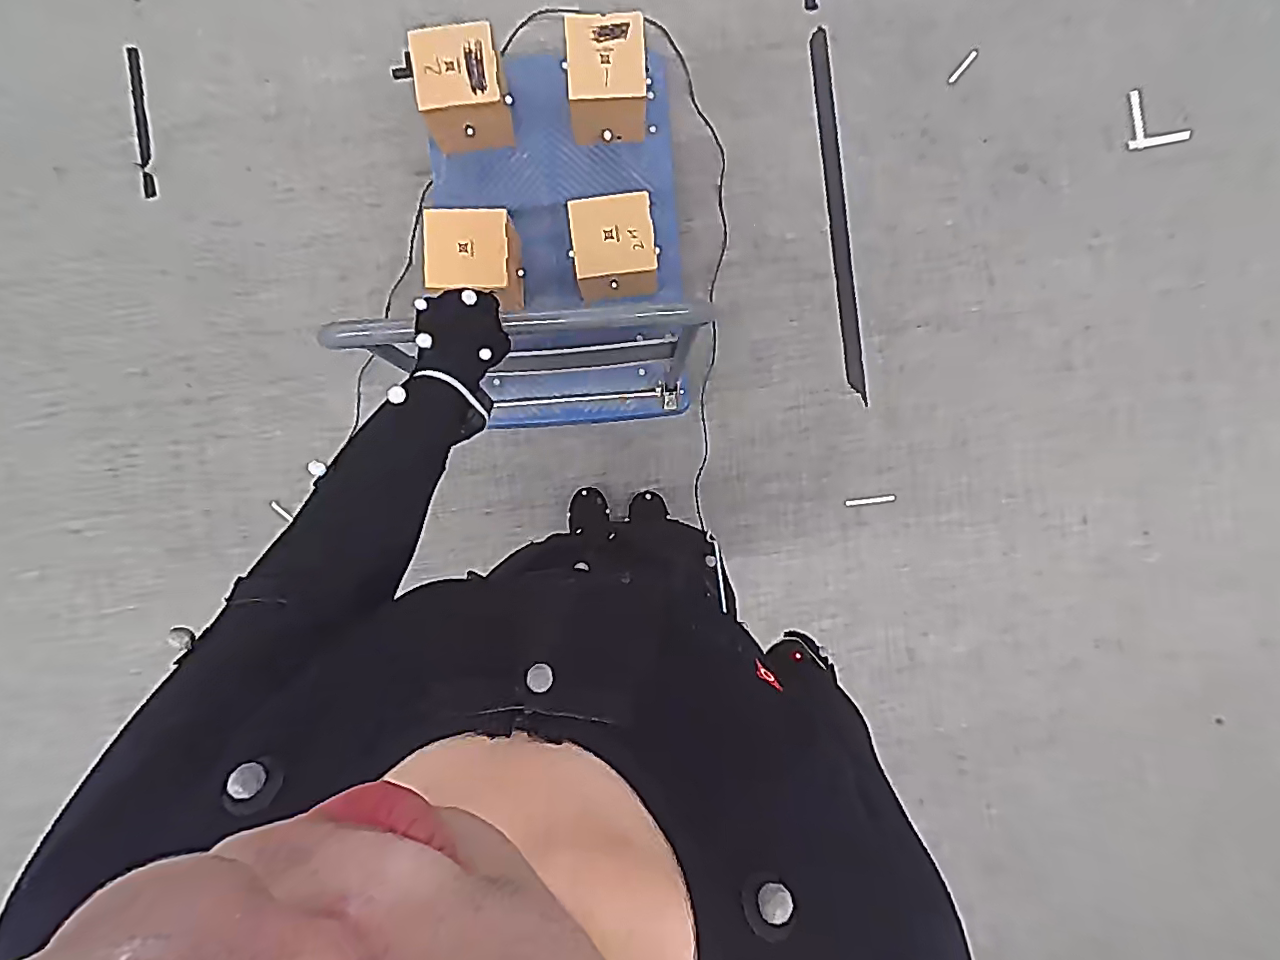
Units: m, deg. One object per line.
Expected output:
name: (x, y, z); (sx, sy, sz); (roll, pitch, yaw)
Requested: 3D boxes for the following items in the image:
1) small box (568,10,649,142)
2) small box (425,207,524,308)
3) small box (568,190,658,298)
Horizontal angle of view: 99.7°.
small box: (-0.069, -0.890, 1.202); (0.168, 0.176, 0.179); (-3, 93, -1)
small box: (-0.364, -0.490, 1.212); (0.179, 0.176, 0.168); (-1, 91, -3)
small box: (-0.056, -0.520, 1.215); (0.179, 0.176, 0.168); (-7, 92, 0)
